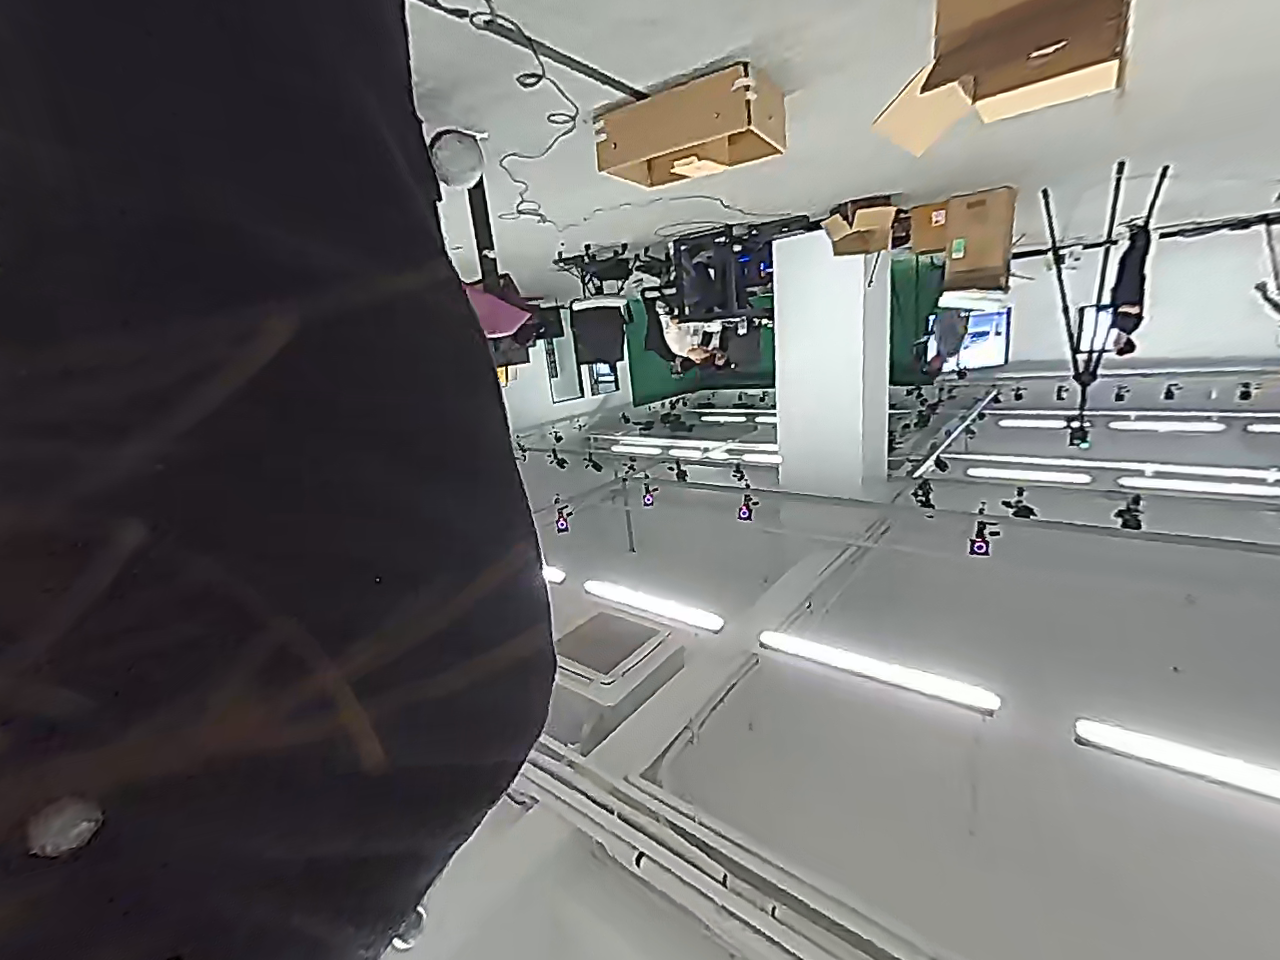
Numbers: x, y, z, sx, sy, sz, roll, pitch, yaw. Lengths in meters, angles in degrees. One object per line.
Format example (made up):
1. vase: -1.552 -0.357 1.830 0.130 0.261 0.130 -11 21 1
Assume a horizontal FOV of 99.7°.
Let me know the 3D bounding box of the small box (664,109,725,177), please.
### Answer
1. small box: 0.201 -1.248 2.004 0.168 0.176 0.179 7 -160 37
